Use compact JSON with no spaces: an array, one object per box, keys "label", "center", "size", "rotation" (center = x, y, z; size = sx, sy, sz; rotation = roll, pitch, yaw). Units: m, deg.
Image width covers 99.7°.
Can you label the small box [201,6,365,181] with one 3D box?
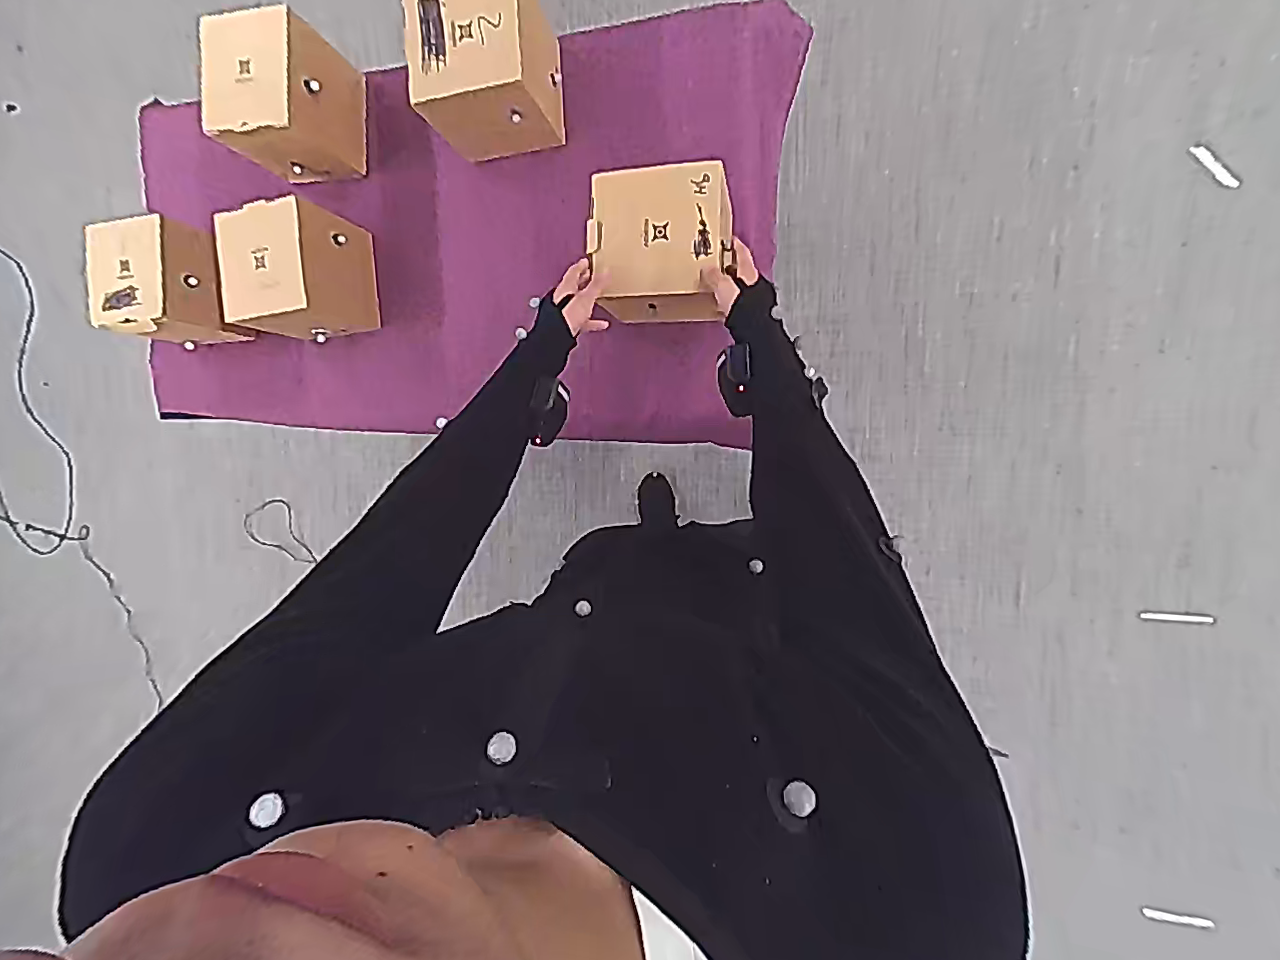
[{"label":"small box","center":[-0.589,-0.635,0.908],"size":[0.168,0.176,0.179],"rotation":[3,95,12]}]

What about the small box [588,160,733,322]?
[{"label":"small box","center":[0.036,-0.330,0.784],"size":[0.179,0.176,0.168],"rotation":[2,95,15]}]

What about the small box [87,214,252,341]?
[{"label":"small box","center":[-0.848,-0.358,0.990],"size":[0.168,0.176,0.179],"rotation":[-1,92,13]}]

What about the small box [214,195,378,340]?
[{"label":"small box","center":[-0.580,-0.353,0.930],"size":[0.168,0.176,0.179],"rotation":[-4,93,14]}]
